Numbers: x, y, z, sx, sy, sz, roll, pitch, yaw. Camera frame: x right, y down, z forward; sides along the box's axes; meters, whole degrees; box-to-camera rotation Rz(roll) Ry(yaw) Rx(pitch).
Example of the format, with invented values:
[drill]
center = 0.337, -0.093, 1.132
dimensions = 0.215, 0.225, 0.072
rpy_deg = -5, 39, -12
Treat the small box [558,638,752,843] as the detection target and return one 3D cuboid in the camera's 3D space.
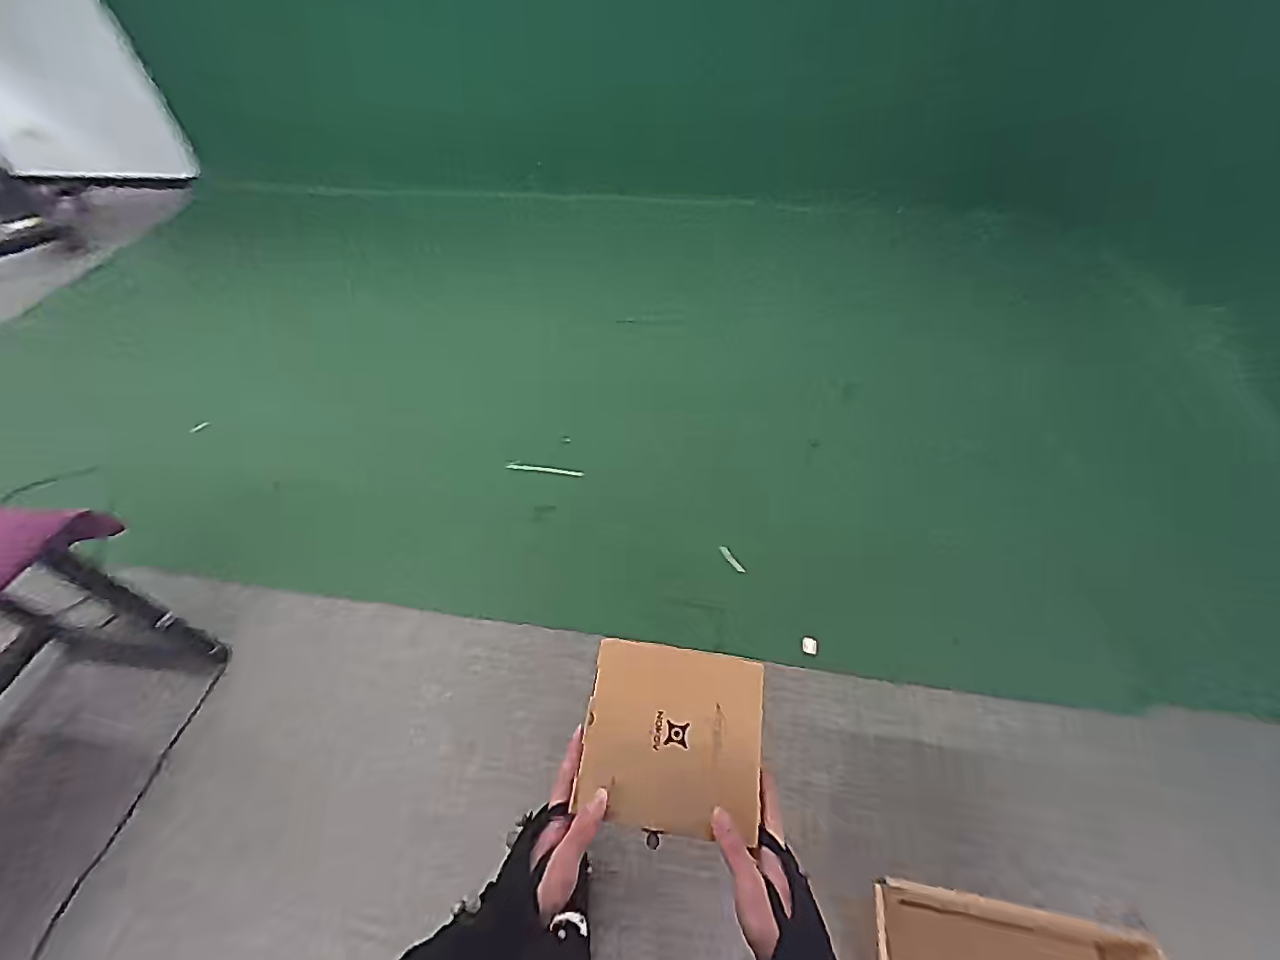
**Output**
[small box]
center = 0.019, 0.290, 0.597
dimensions = 0.179, 0.176, 0.168
rpy_deg = 8, 58, 3
